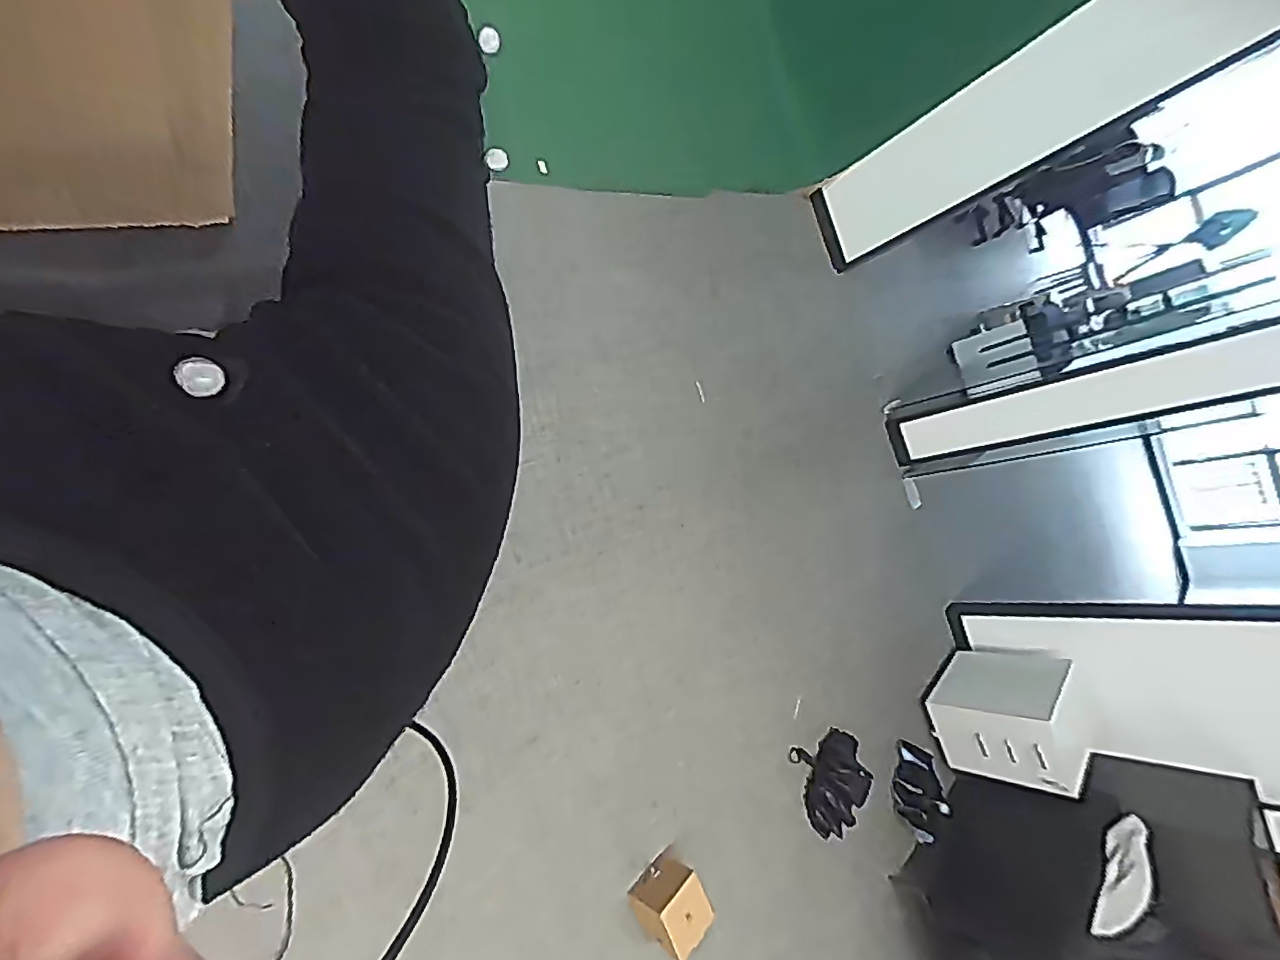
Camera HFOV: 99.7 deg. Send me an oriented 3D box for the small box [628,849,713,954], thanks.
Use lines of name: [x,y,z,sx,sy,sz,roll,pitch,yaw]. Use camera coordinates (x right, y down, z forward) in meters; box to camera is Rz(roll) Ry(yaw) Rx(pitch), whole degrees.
small box: [0.093,1.321,1.710,0.168,0.176,0.179,-29,97,-40]
